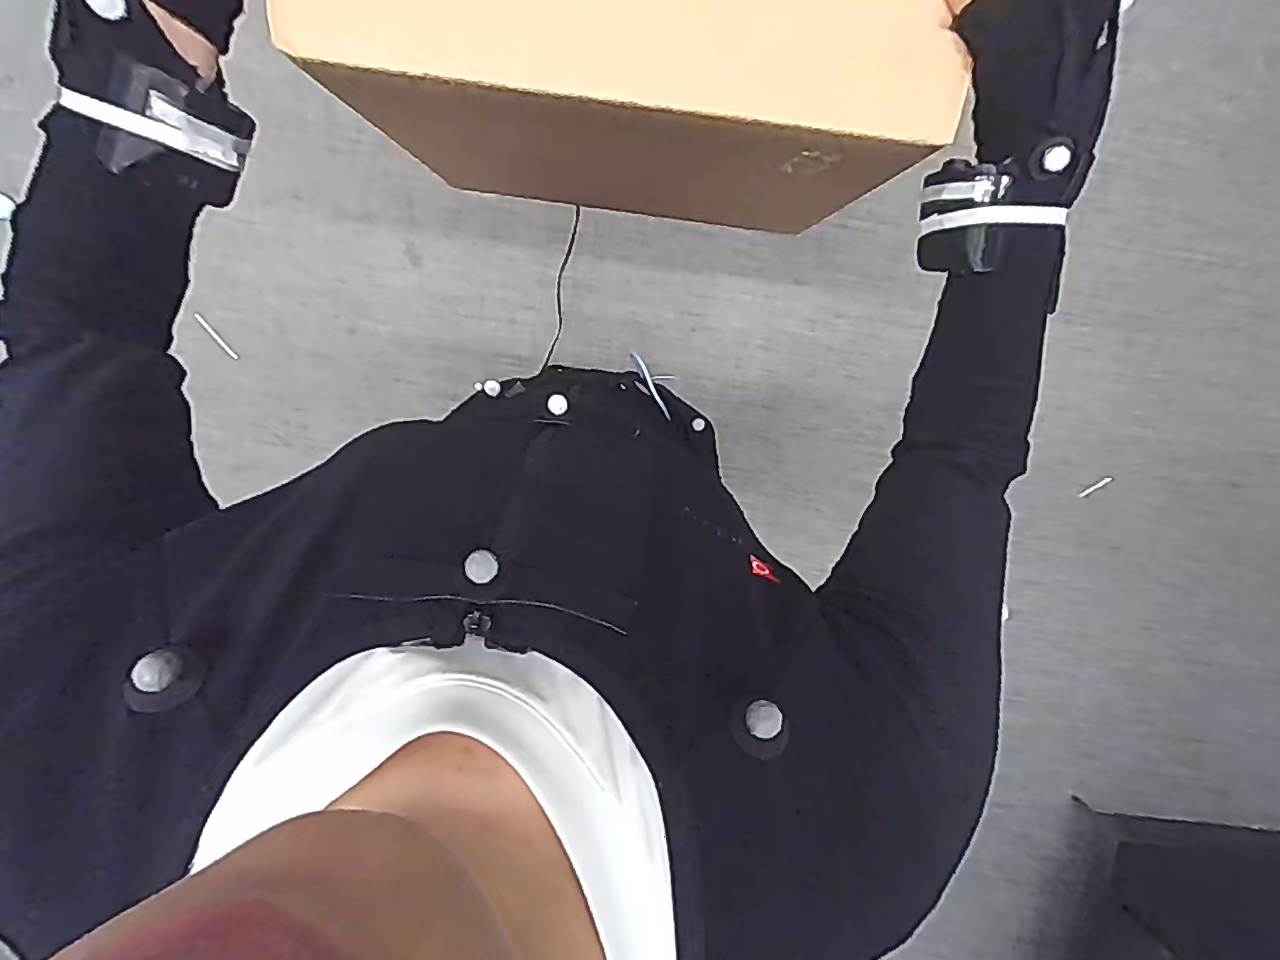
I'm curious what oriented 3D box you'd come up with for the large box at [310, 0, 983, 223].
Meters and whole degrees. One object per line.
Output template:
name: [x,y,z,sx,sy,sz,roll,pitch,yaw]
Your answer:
large box: [0.011,-0.420,0.436,0.408,0.320,0.320,6,106,-3]
